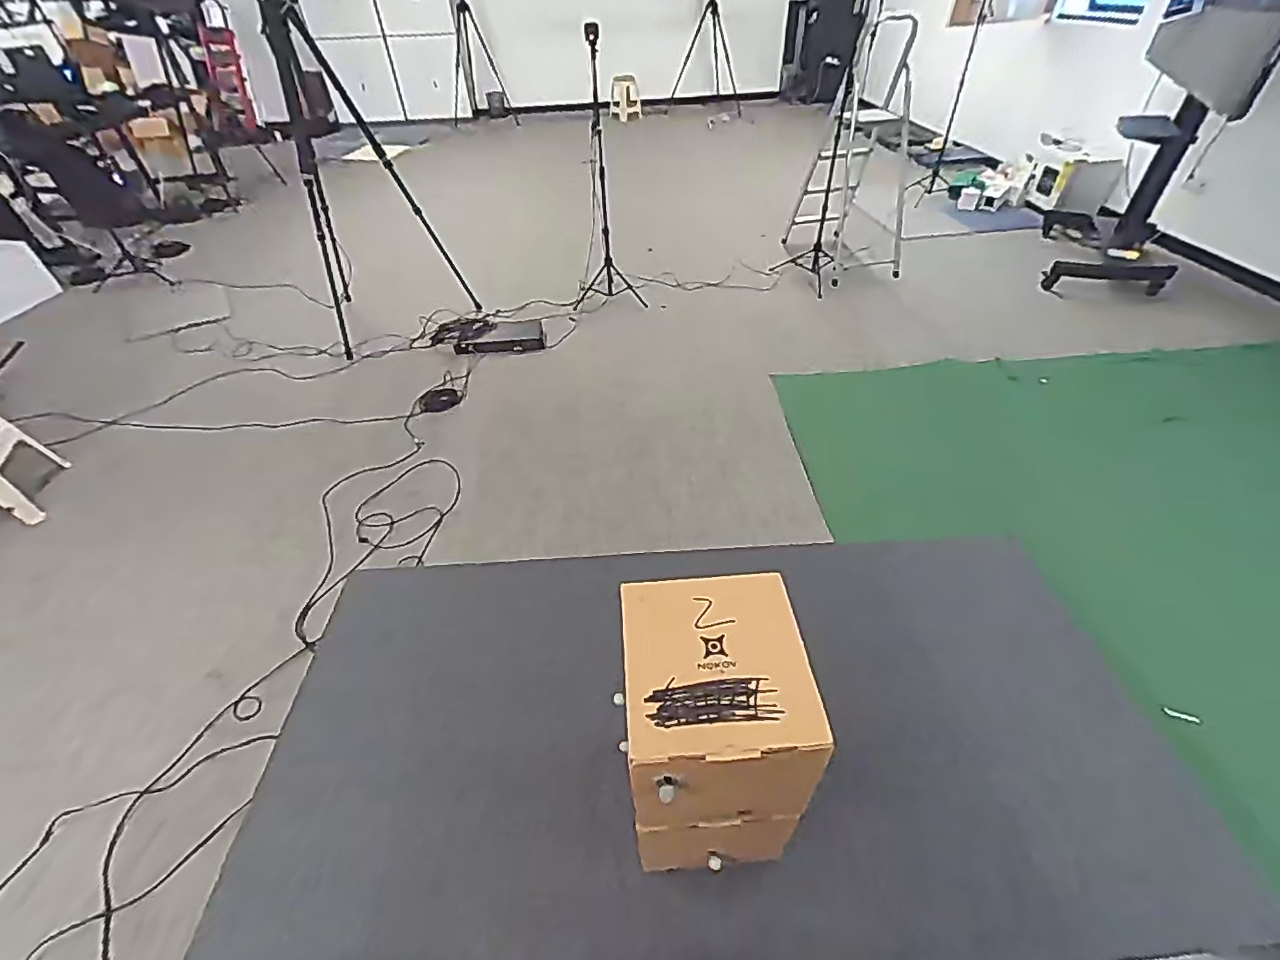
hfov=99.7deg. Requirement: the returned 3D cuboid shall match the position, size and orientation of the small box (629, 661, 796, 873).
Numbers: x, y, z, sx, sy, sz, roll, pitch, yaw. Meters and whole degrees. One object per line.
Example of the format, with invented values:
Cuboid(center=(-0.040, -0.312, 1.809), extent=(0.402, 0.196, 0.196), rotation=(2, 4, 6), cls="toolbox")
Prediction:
Cuboid(center=(0.073, 0.346, 0.655), extent=(0.168, 0.176, 0.179), rotation=(-5, 43, -2), cls="small box")
